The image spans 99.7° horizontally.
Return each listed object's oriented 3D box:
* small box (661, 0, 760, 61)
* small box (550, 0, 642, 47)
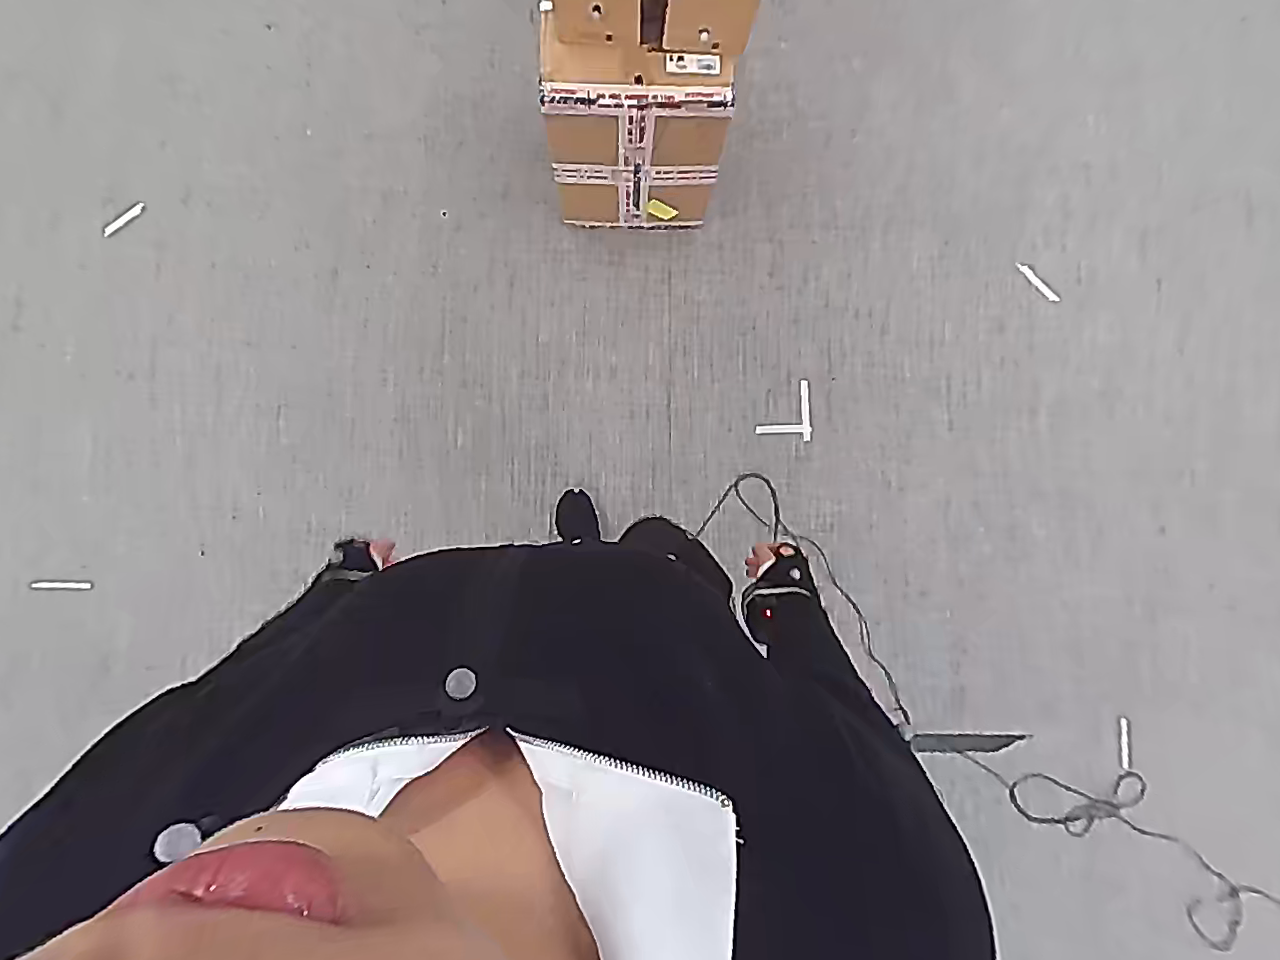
[{"bbox_3d":[0.131,-0.933,1.001,0.168,0.176,0.179,3,89,-3],"label":"small box"},{"bbox_3d":[-0.077,-0.944,0.992,0.168,0.176,0.179,3,89,-1],"label":"small box"}]
